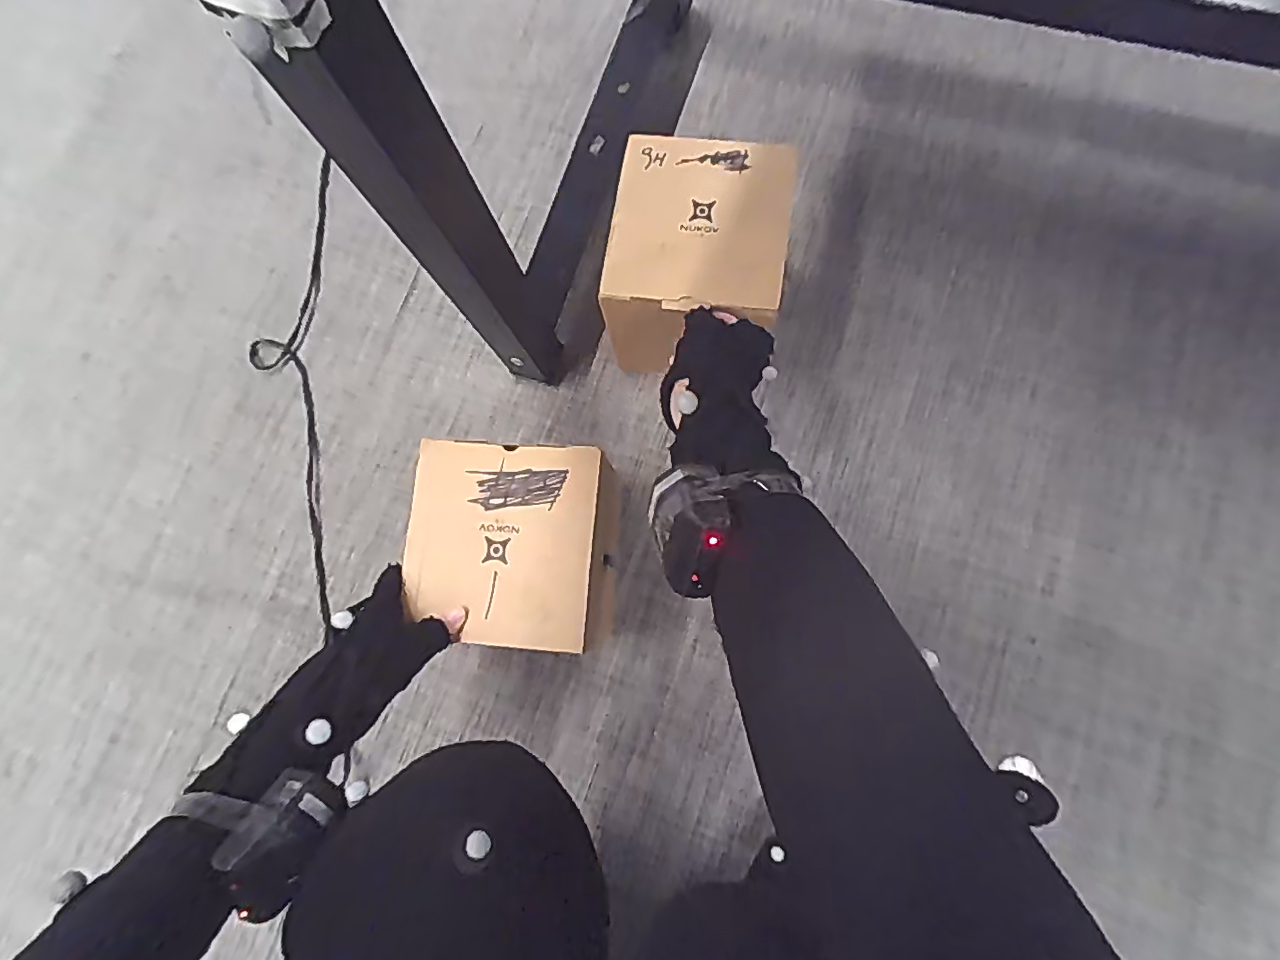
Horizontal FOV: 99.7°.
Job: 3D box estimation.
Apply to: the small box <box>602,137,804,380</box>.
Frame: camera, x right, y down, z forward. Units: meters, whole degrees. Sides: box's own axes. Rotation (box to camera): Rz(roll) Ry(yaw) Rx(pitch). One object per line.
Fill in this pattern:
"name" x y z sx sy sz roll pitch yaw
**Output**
"small box" 0.065 -0.222 0.582 0.168 0.176 0.179 10 81 5
